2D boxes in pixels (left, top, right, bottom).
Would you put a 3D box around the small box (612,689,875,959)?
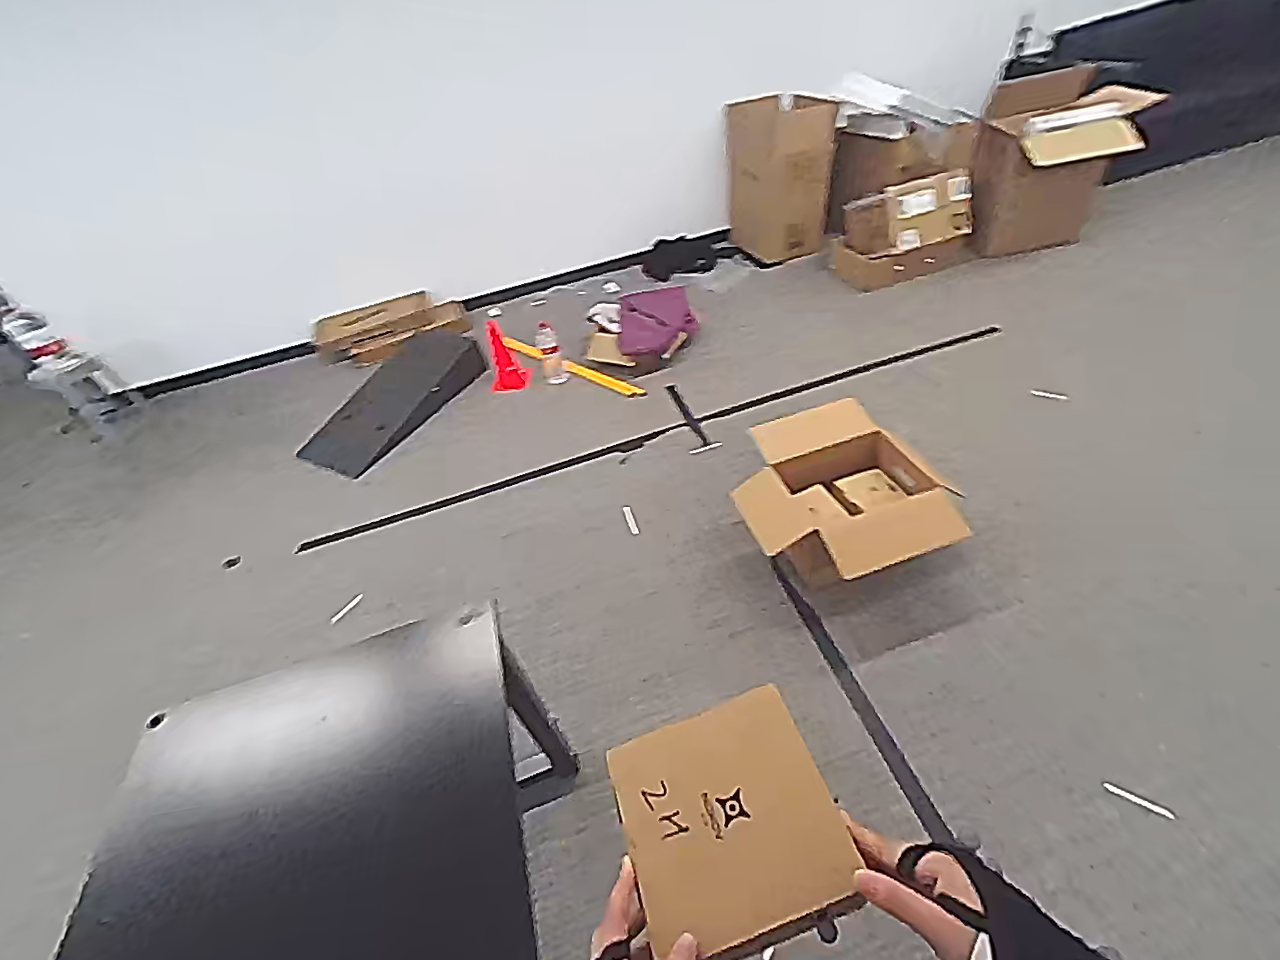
[{"bbox_3d":[0.093,0.332,0.513,0.179,0.176,0.168,-22,45,0],"label":"small box"}]
